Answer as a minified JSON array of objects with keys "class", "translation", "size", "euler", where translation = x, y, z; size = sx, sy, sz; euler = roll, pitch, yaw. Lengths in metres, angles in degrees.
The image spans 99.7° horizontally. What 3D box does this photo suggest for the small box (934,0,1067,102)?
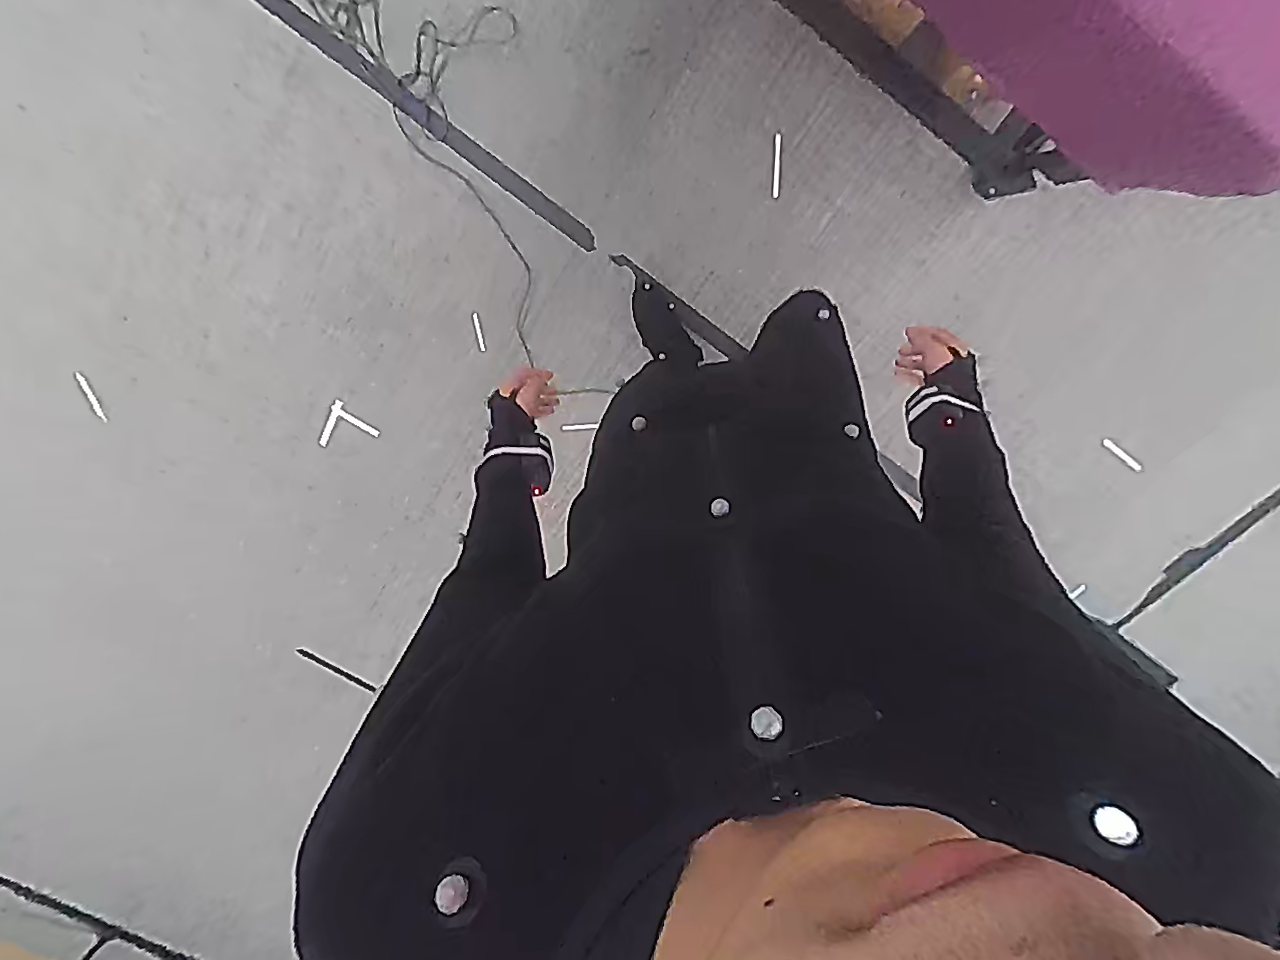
[{"class":"small box","translation":[0.758,-0.939,1.151],"size":[0.168,0.176,0.179],"euler":[7,112,3]}]
